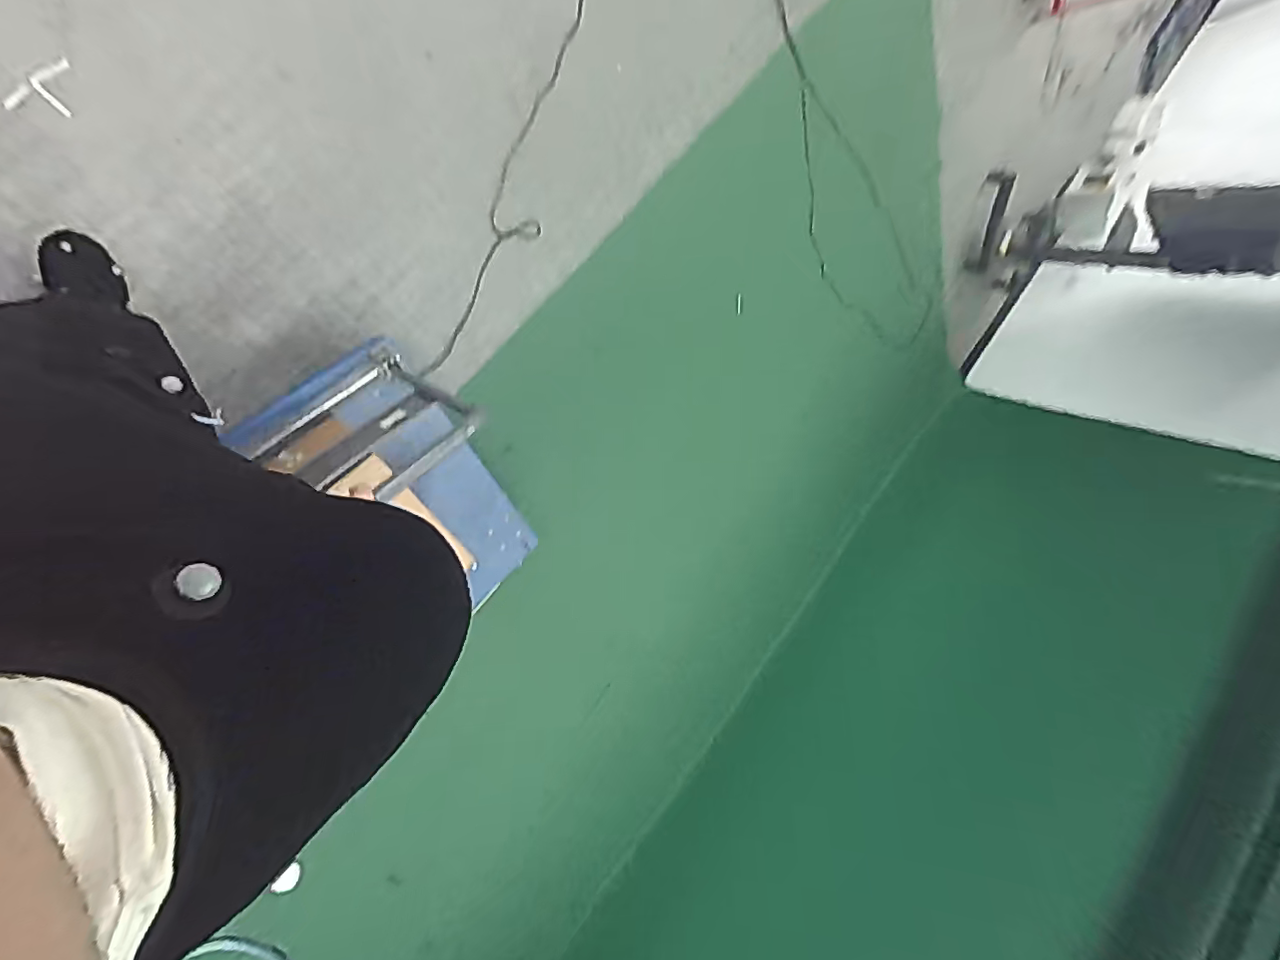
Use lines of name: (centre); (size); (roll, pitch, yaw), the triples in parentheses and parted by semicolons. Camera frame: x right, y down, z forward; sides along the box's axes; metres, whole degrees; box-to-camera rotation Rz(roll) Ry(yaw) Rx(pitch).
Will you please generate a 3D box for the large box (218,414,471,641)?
large box: (-0.705, 0.111, 1.318); (0.320, 0.320, 0.408); (-44, 136, -18)
